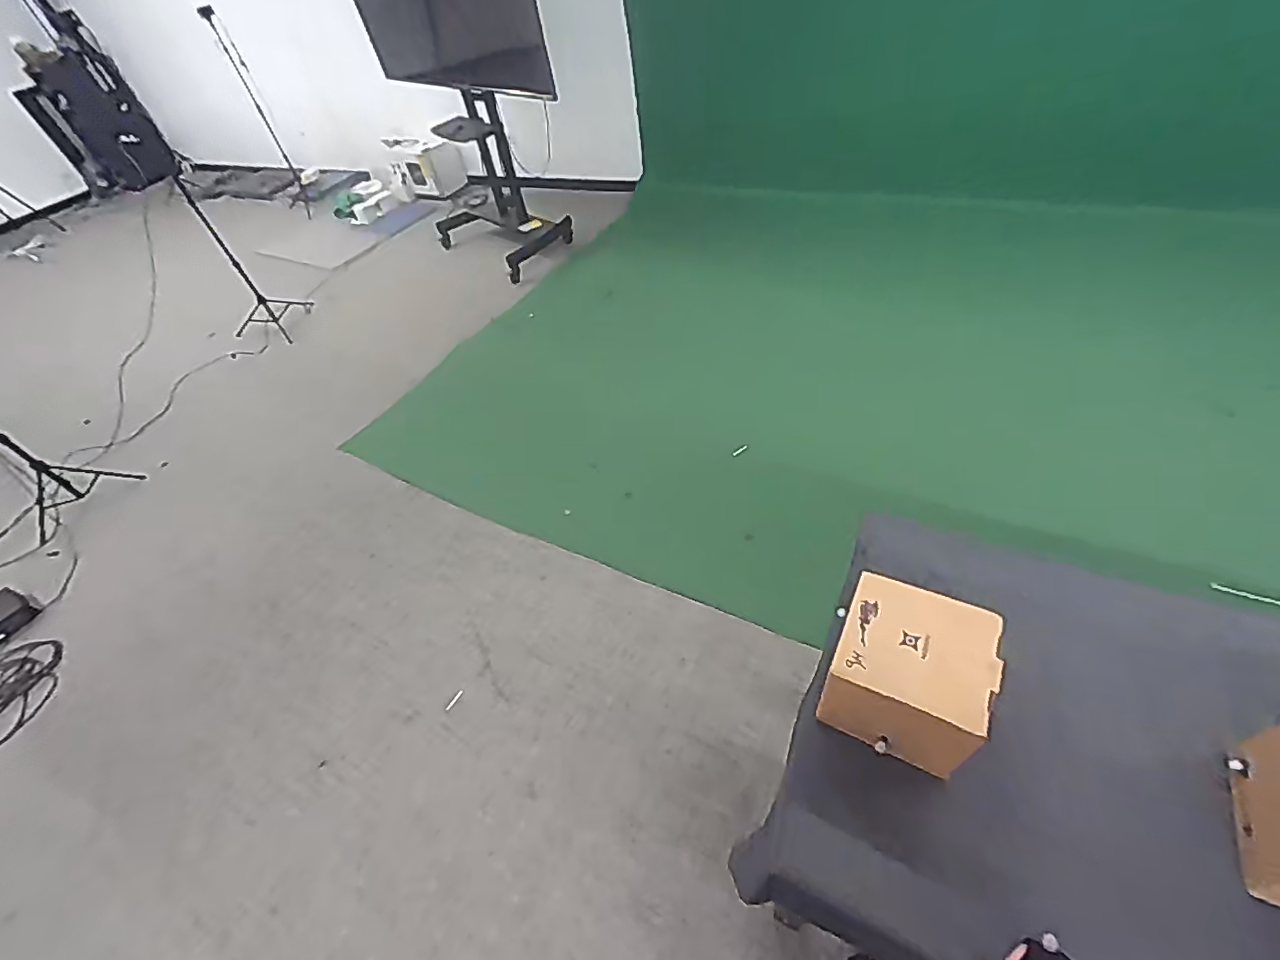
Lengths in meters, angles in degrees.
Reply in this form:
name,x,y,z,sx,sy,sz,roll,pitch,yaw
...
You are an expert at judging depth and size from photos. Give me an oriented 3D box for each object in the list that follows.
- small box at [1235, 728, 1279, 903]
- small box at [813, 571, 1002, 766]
name,x,y,z,sx,sy,sz,roll,pitch,yaw
small box,0.768,0.368,0.551,0.179,0.176,0.168,18,54,24
small box,0.352,0.259,0.732,0.179,0.176,0.168,19,54,24
